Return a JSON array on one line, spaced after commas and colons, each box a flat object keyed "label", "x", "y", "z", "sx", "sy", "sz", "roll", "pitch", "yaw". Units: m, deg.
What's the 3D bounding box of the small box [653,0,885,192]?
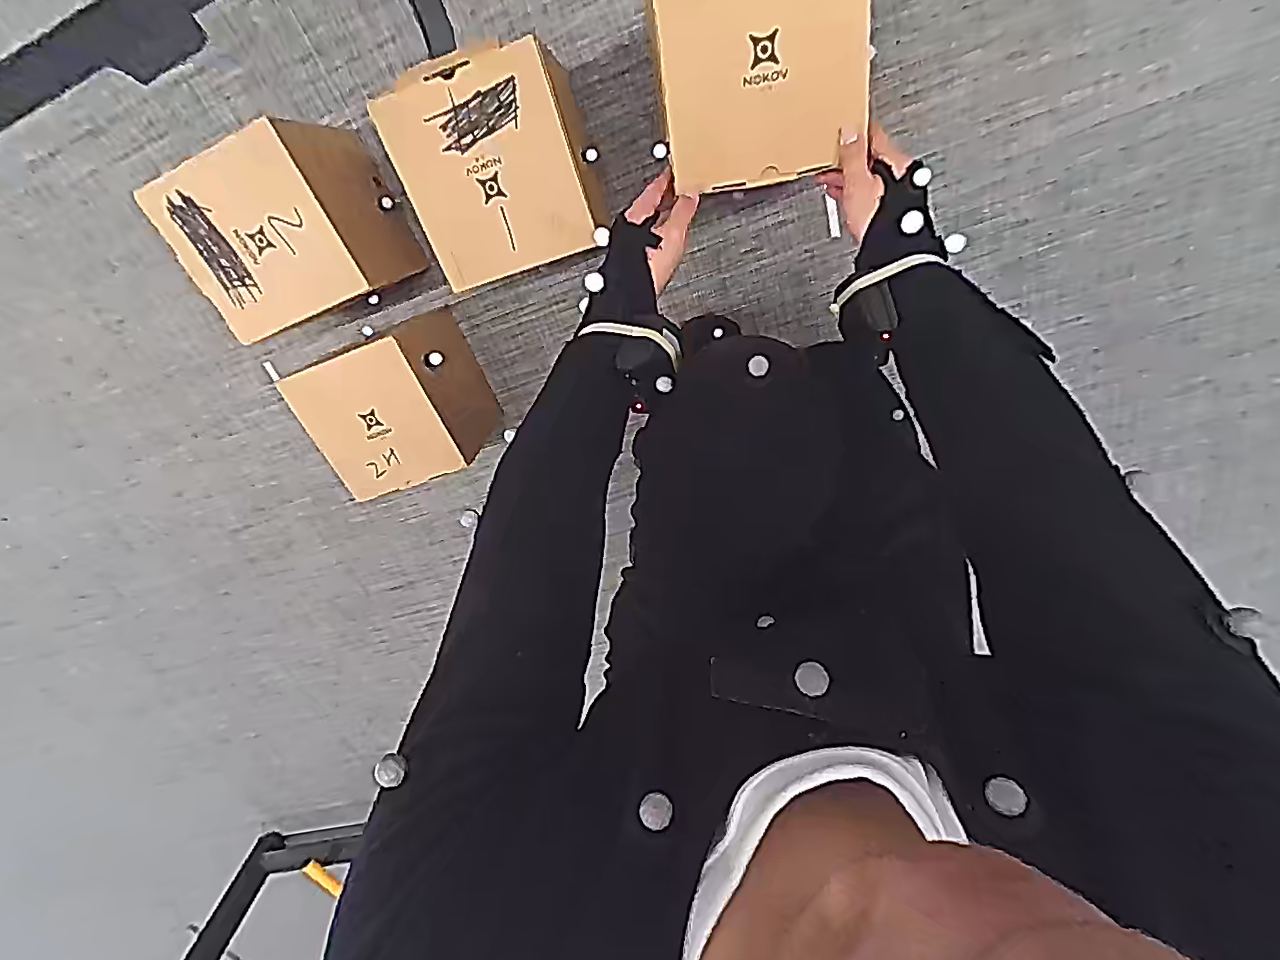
[{"label": "small box", "x": 0.104, "y": -0.368, "z": 0.485, "sx": 0.168, "sy": 0.176, "sz": 0.179, "roll": -8, "pitch": 118, "yaw": 5}]

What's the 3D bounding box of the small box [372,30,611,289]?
[{"label": "small box", "x": -0.136, "y": -0.325, "z": 0.573, "sx": 0.168, "sy": 0.176, "sz": 0.179, "roll": -14, "pitch": 119, "yaw": 10}]

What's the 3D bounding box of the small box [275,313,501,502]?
[{"label": "small box", "x": -0.308, "y": -0.103, "z": 0.703, "sx": 0.168, "sy": 0.176, "sz": 0.179, "roll": -17, "pitch": 118, "yaw": 12}]
